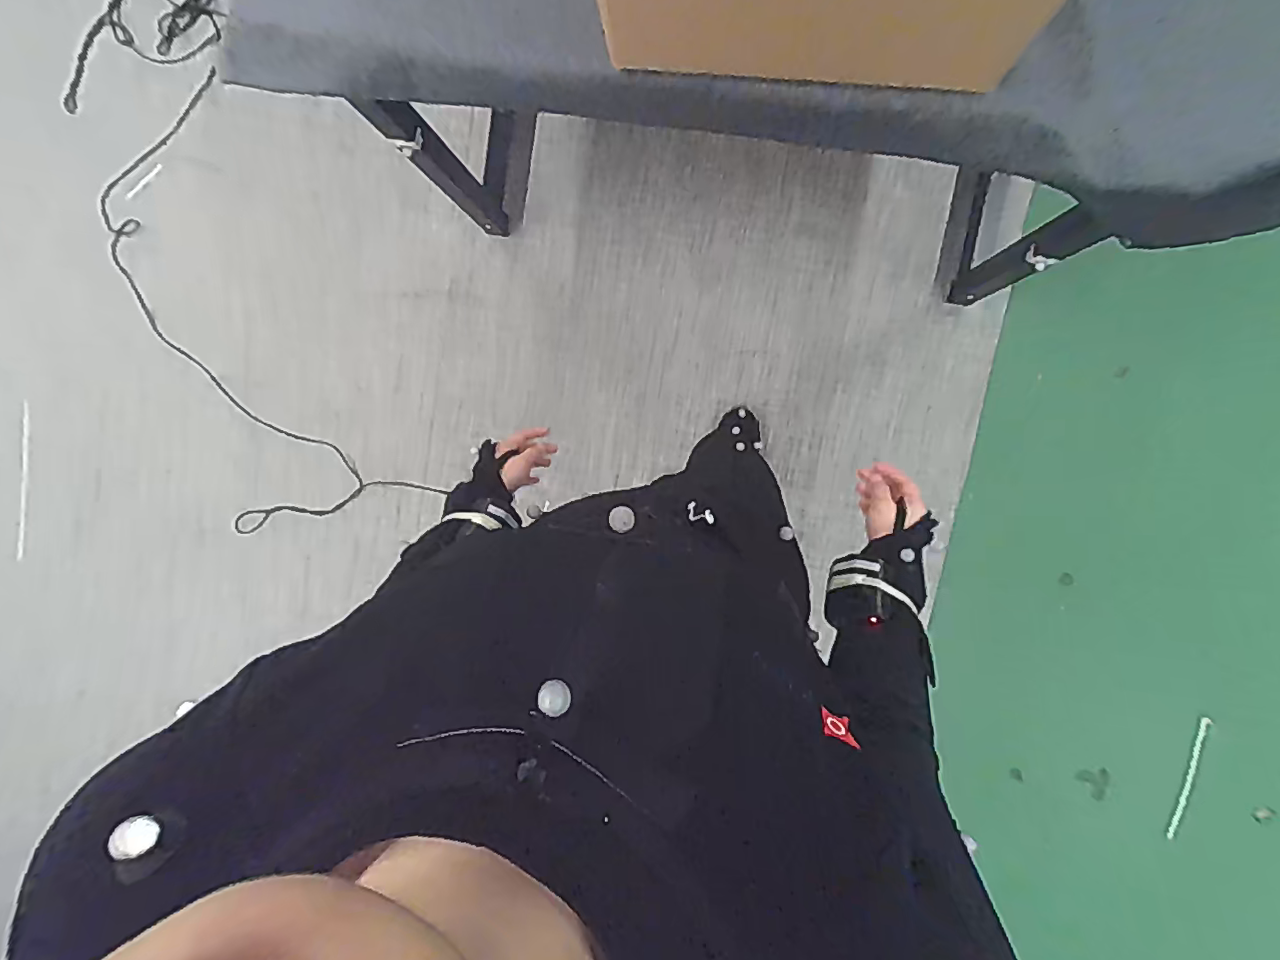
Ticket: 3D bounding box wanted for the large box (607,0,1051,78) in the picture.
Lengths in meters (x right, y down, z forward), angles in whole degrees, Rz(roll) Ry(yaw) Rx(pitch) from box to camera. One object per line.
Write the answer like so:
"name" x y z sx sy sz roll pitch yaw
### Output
"large box" 0.171 -0.578 0.423 0.408 0.320 0.320 7 95 4
